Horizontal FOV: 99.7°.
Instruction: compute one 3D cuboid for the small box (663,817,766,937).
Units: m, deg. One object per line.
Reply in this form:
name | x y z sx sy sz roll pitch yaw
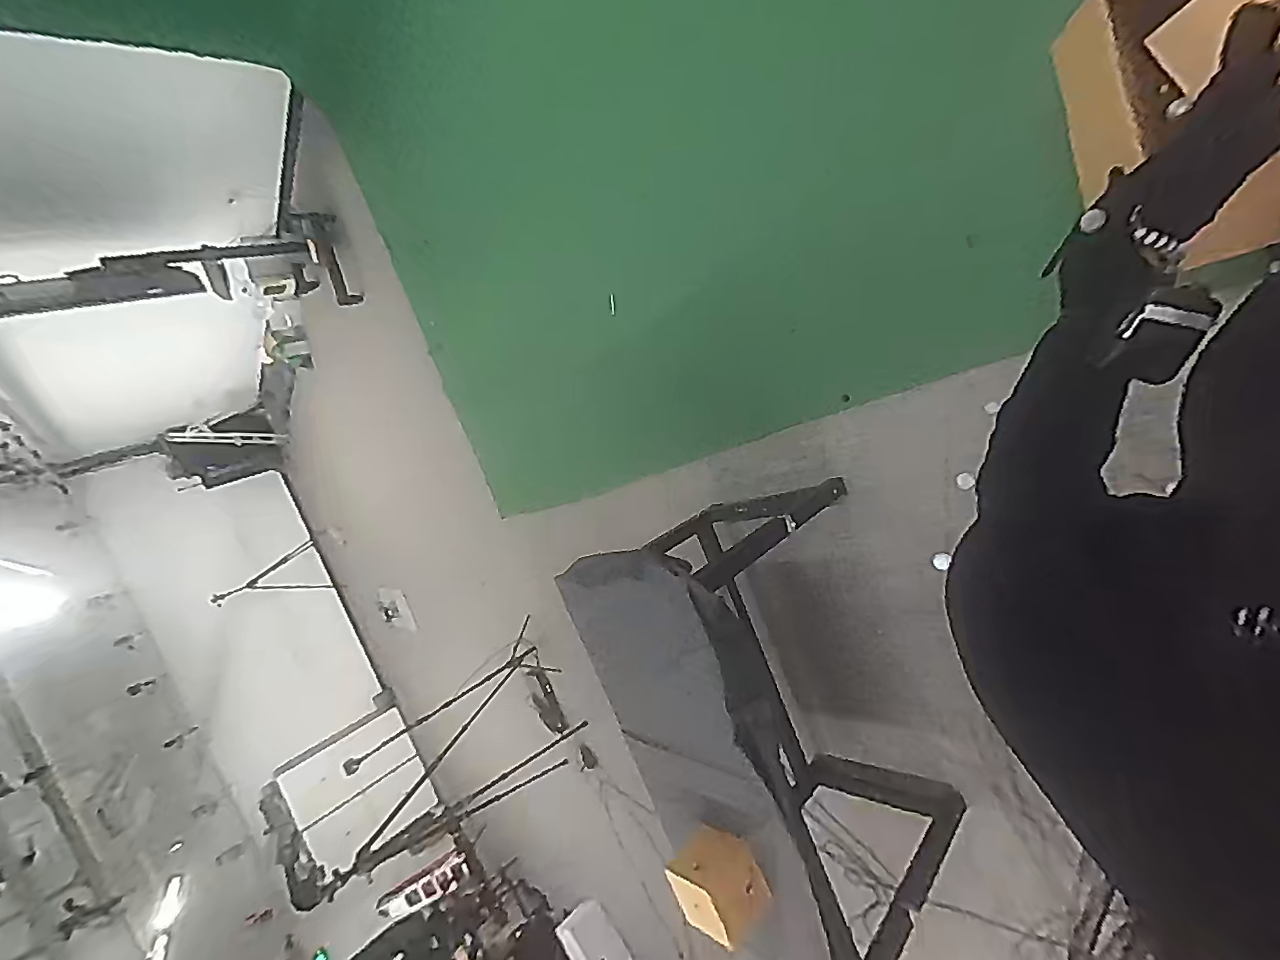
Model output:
small box | 0.200 1.042 1.441 0.179 0.176 0.168 -21 93 51
